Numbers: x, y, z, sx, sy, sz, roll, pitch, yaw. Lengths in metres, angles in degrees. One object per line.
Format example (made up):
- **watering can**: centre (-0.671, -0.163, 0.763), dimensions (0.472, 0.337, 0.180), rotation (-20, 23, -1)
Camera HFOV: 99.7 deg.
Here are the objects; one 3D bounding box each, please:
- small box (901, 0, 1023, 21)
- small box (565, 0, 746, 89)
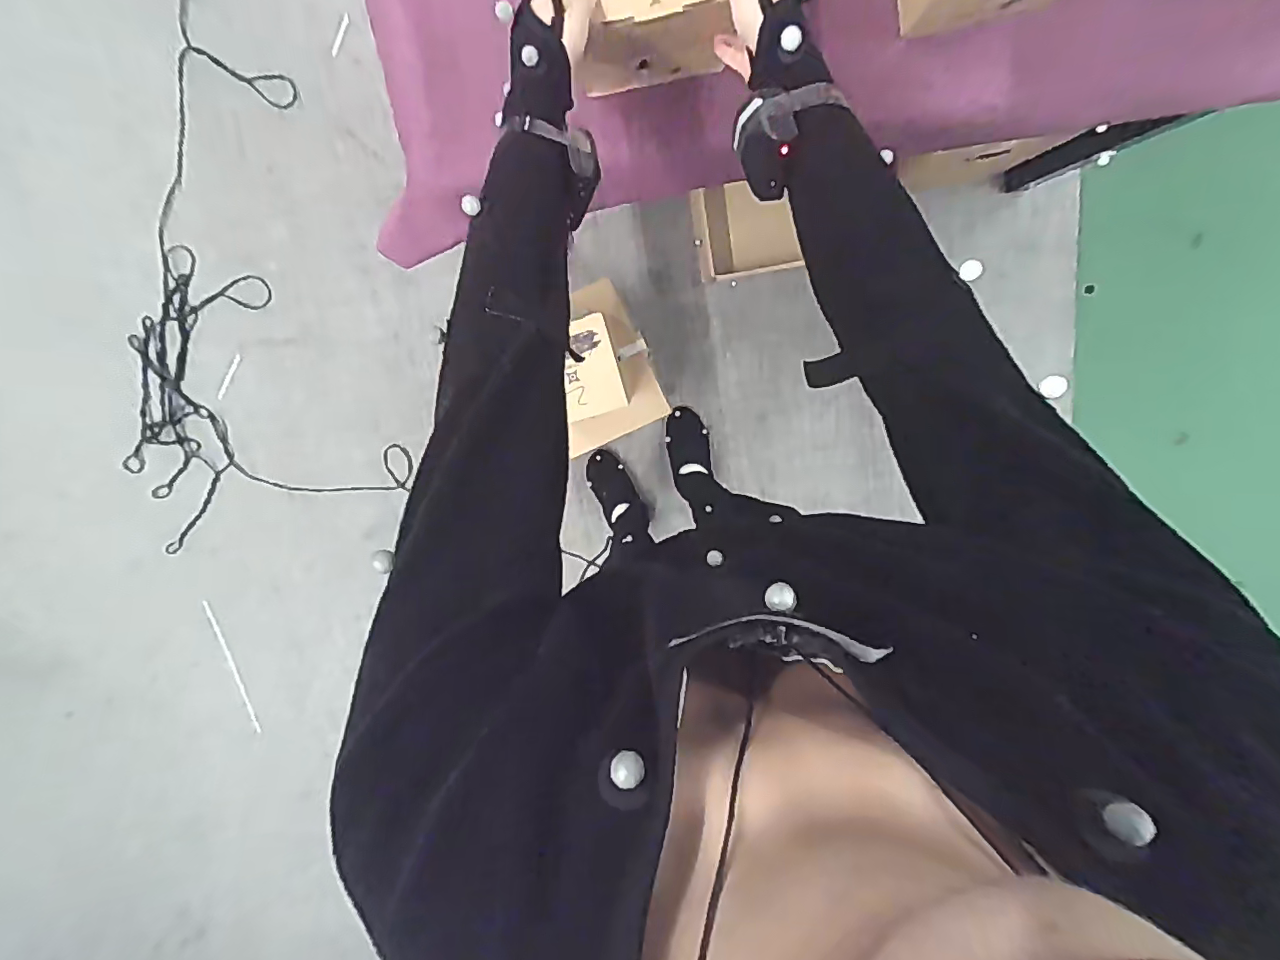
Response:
- **small box**: centre (0.354, -0.579, 0.506), dimensions (0.168, 0.176, 0.179), rotation (-12, 103, 4)
- **small box**: centre (0.003, -0.523, 0.525), dimensions (0.168, 0.176, 0.179), rotation (-9, 109, 4)
